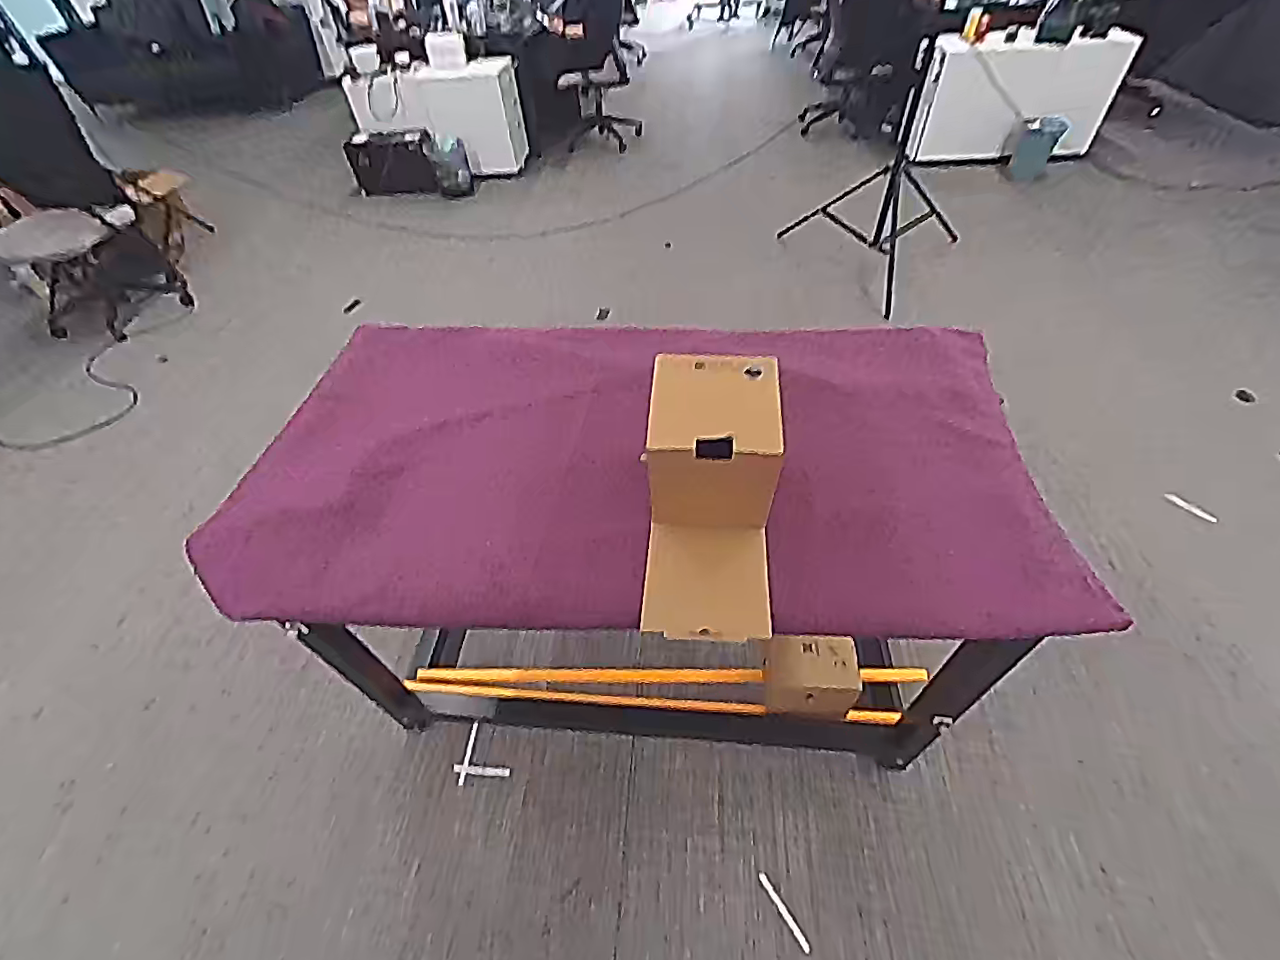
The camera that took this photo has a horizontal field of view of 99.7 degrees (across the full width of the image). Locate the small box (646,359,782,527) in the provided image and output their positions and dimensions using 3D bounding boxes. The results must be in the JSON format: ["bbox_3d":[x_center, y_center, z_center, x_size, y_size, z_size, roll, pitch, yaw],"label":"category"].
[{"bbox_3d":[0.097,-0.052,0.758,0.168,0.179,0.176,3,56,5],"label":"small box"}]

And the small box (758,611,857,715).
[{"bbox_3d":[0.353,0.402,1.181,0.179,0.176,0.168,0,49,6],"label":"small box"}]
